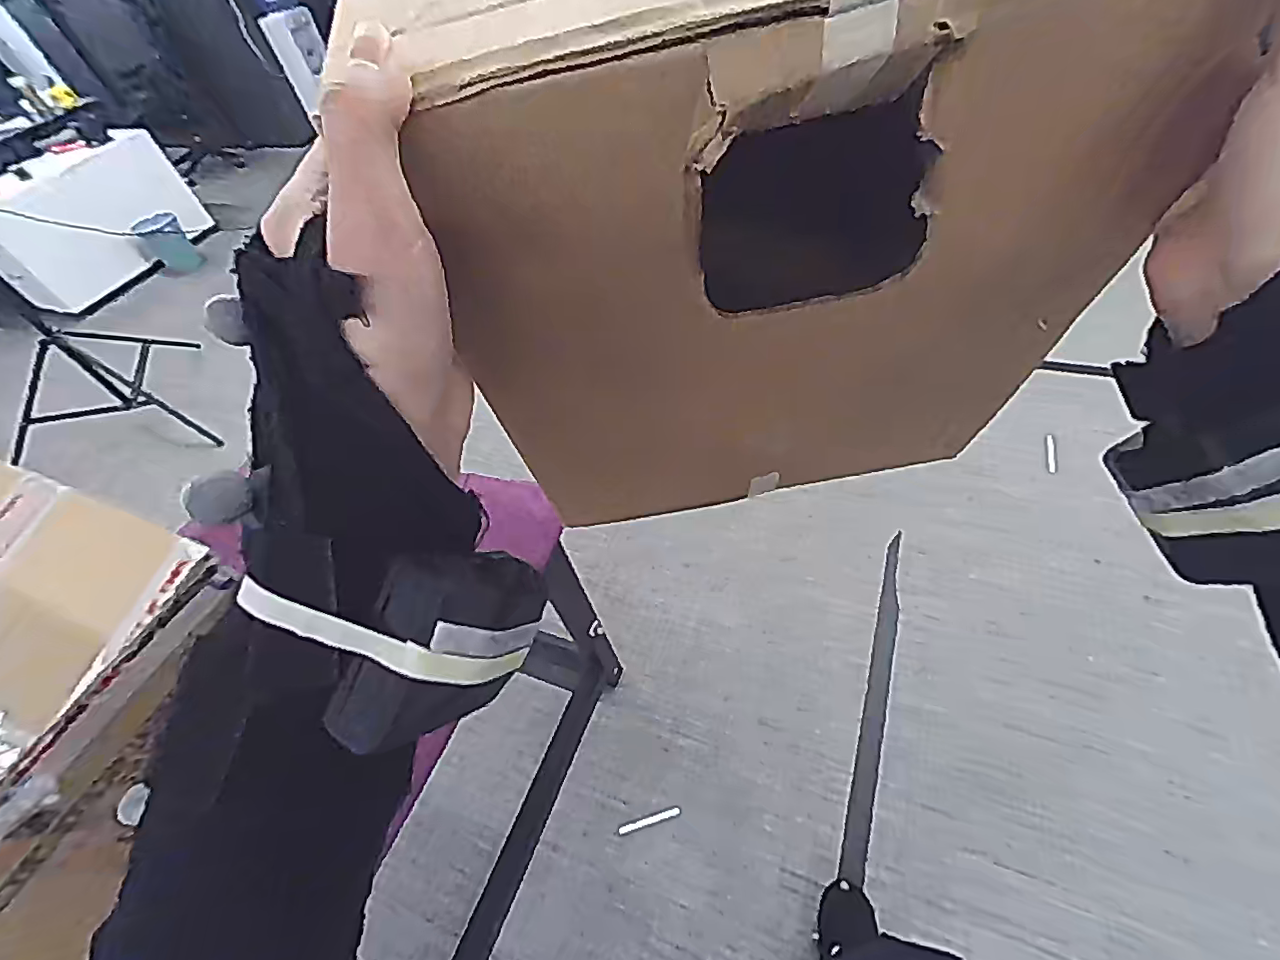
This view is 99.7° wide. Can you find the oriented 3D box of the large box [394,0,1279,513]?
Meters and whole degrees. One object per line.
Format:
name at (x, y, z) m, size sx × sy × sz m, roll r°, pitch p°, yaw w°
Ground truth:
large box at (0.055, -0.238, 0.381) m, size 0.320 × 0.320 × 0.408 m, roll -12°, pitch 63°, yaw 2°
